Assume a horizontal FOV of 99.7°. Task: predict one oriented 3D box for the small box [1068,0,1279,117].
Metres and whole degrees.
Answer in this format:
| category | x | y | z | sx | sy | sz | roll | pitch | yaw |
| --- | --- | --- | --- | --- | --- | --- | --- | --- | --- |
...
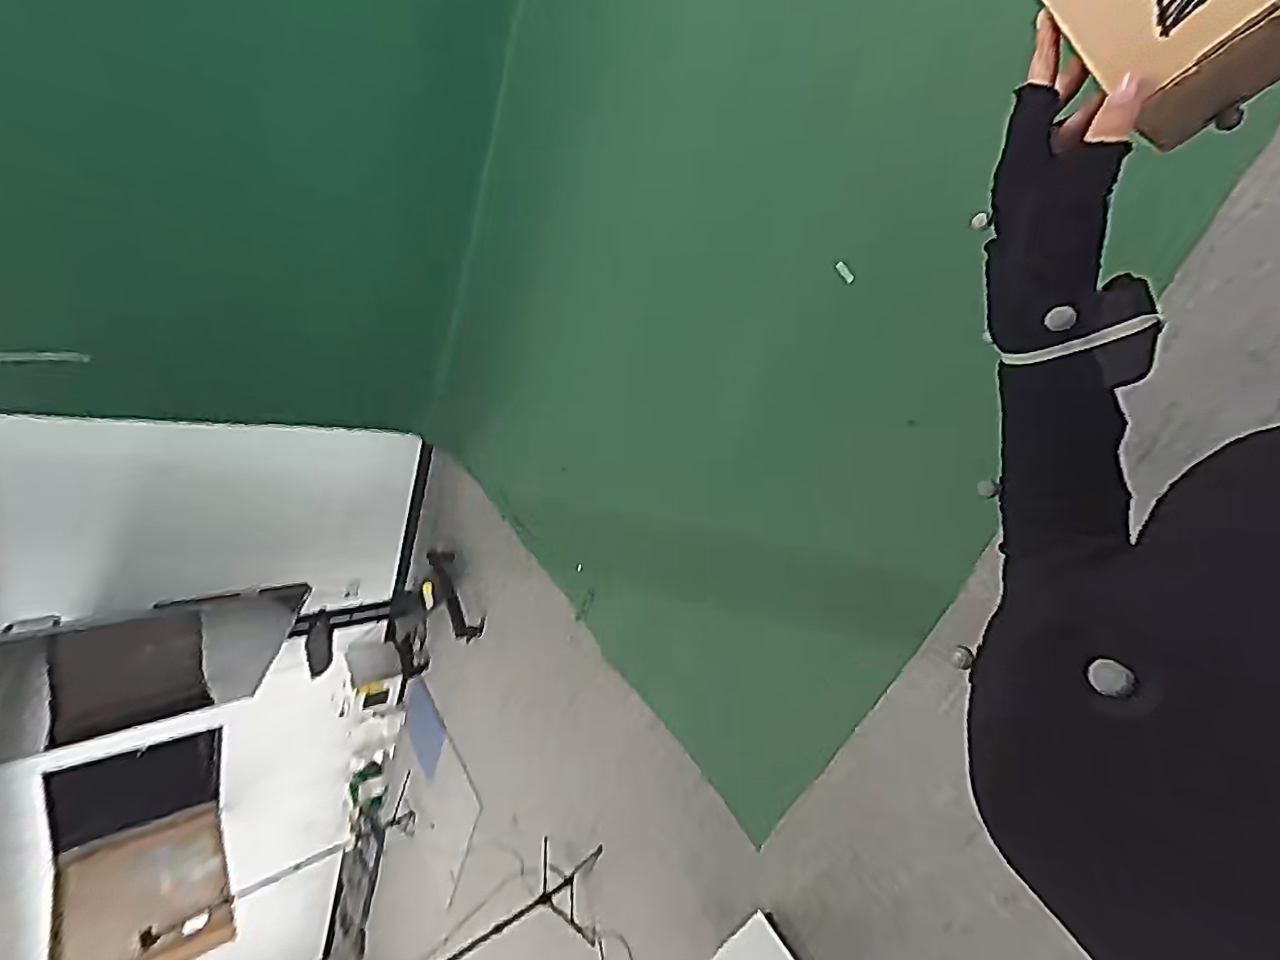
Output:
| category | x | y | z | sx | sy | sz | roll | pitch | yaw |
| --- | --- | --- | --- | --- | --- | --- | --- | --- | --- |
| small box | 0.330 | -0.329 | 0.283 | 0.168 | 0.176 | 0.179 | -34 | 78 | 51 |
